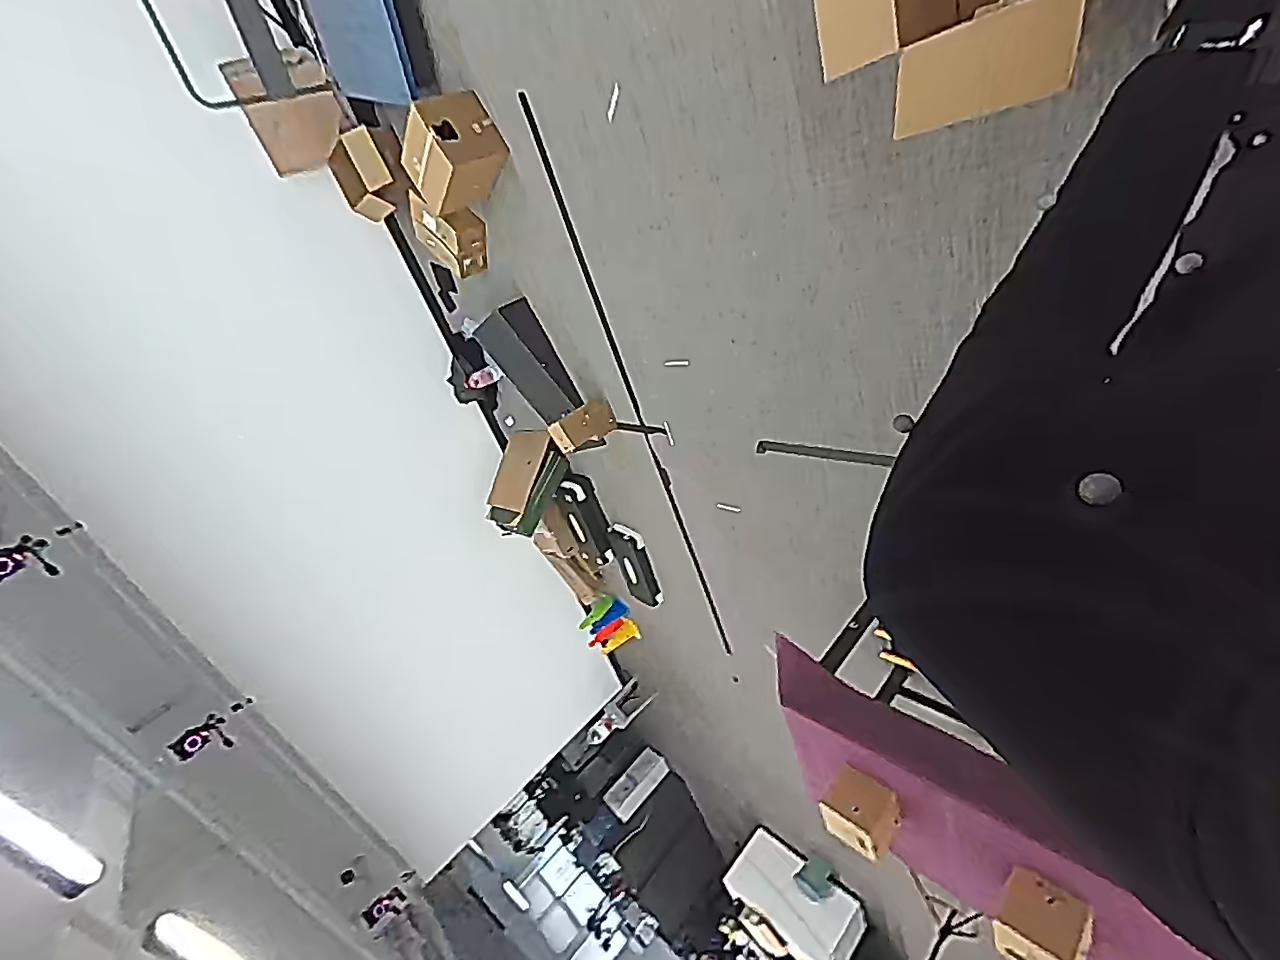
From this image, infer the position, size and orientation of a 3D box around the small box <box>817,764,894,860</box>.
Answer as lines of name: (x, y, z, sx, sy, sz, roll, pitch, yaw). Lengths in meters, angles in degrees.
small box: (0.711, 1.076, 1.766, 0.179, 0.176, 0.168, 14, 133, 49)
